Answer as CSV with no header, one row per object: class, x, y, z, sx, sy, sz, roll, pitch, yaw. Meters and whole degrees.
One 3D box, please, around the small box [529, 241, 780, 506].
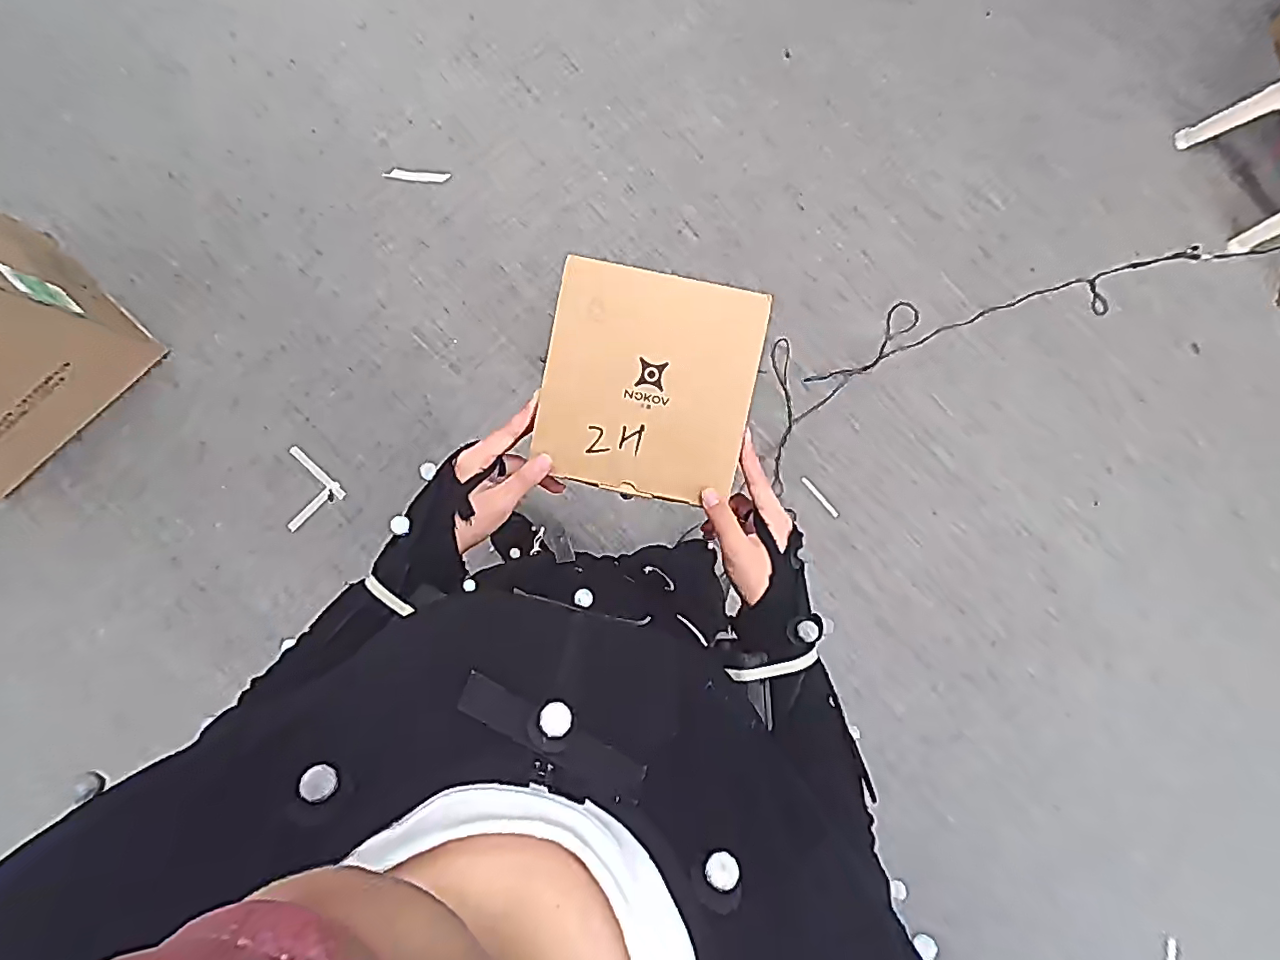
small box,0.011,-0.085,0.493,0.168,0.176,0.179,12,93,0
